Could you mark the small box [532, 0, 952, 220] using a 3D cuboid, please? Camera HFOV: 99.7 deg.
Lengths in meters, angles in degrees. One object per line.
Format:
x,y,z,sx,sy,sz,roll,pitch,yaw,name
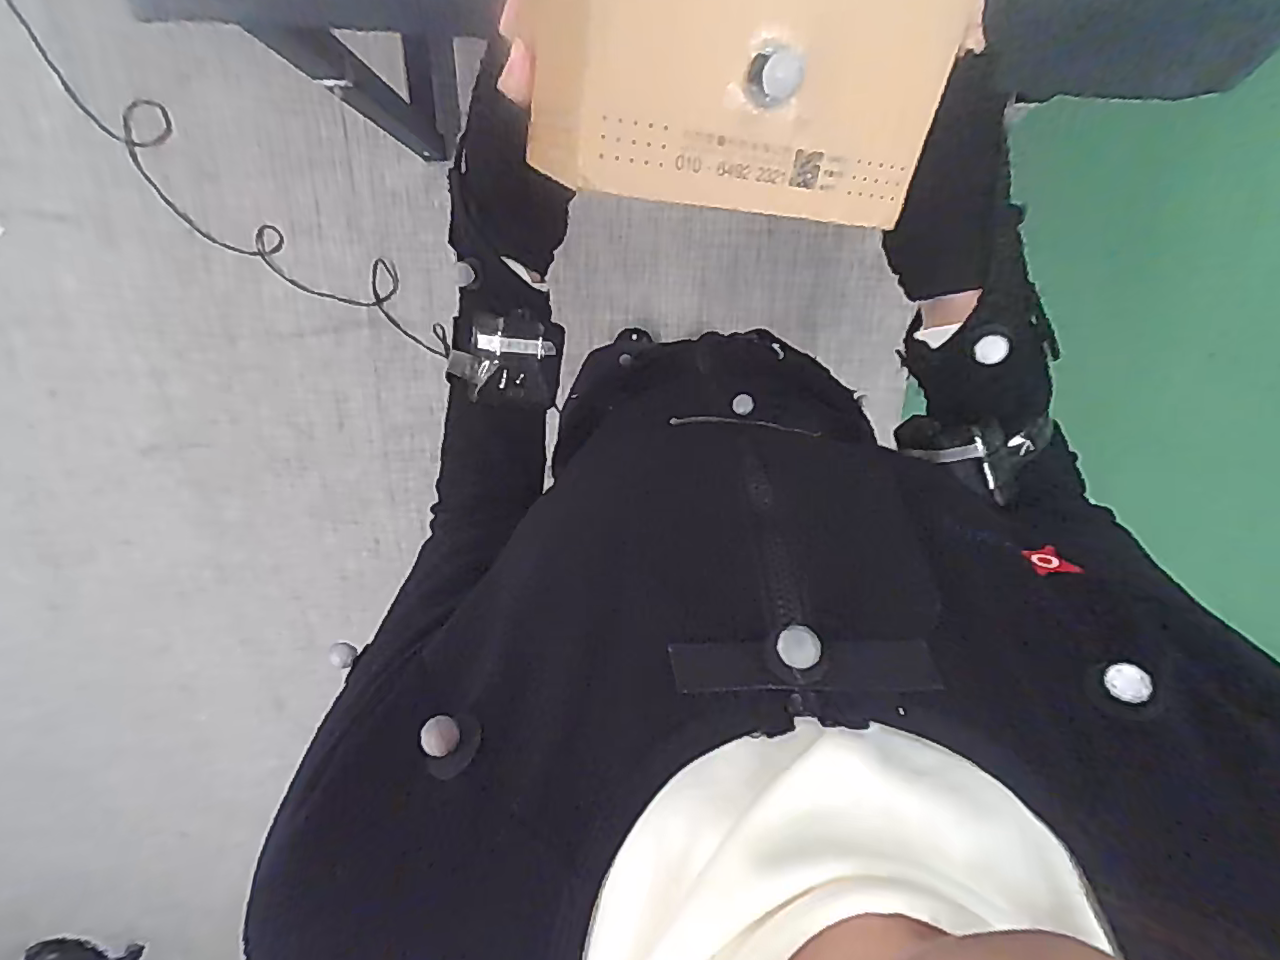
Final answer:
0.037,-0.248,0.280,0.168,0.179,0.176,-3,125,-18,small box
